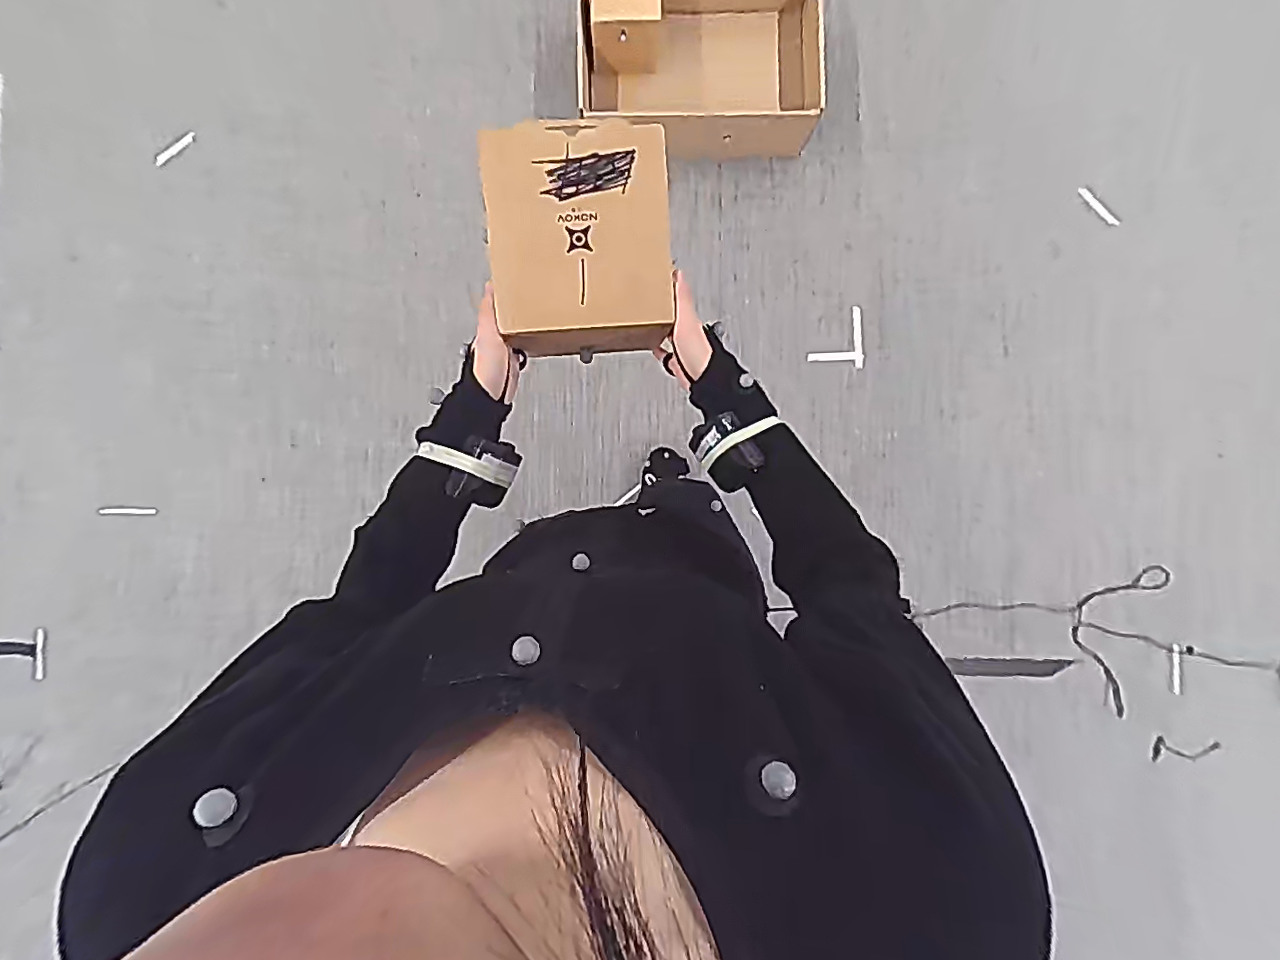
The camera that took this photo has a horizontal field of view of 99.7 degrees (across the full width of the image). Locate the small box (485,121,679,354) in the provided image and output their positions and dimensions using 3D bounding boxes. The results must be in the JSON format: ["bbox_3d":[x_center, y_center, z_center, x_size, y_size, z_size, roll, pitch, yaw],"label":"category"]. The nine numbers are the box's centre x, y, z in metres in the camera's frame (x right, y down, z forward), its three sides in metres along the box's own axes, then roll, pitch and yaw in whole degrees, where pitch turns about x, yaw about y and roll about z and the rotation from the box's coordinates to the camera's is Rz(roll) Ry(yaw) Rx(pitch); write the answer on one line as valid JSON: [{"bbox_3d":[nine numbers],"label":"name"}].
[{"bbox_3d":[-0.056,-0.235,0.561,0.168,0.176,0.179,-4,96,-3],"label":"small box"}]
